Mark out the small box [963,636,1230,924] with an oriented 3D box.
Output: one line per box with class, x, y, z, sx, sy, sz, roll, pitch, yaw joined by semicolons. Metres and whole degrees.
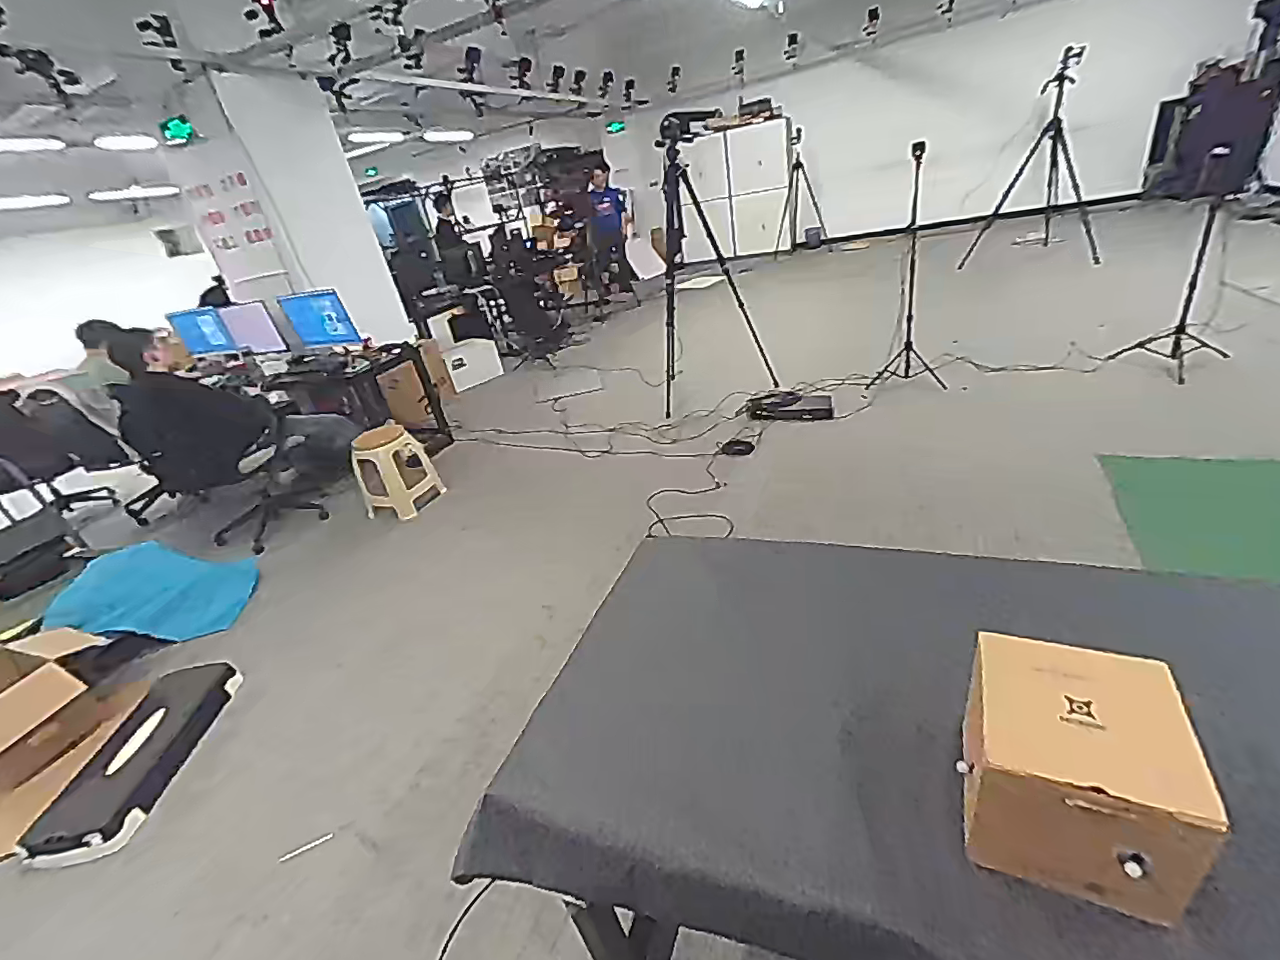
small box;0.437;0.297;0.554;0.168;0.176;0.179;5;31;27
